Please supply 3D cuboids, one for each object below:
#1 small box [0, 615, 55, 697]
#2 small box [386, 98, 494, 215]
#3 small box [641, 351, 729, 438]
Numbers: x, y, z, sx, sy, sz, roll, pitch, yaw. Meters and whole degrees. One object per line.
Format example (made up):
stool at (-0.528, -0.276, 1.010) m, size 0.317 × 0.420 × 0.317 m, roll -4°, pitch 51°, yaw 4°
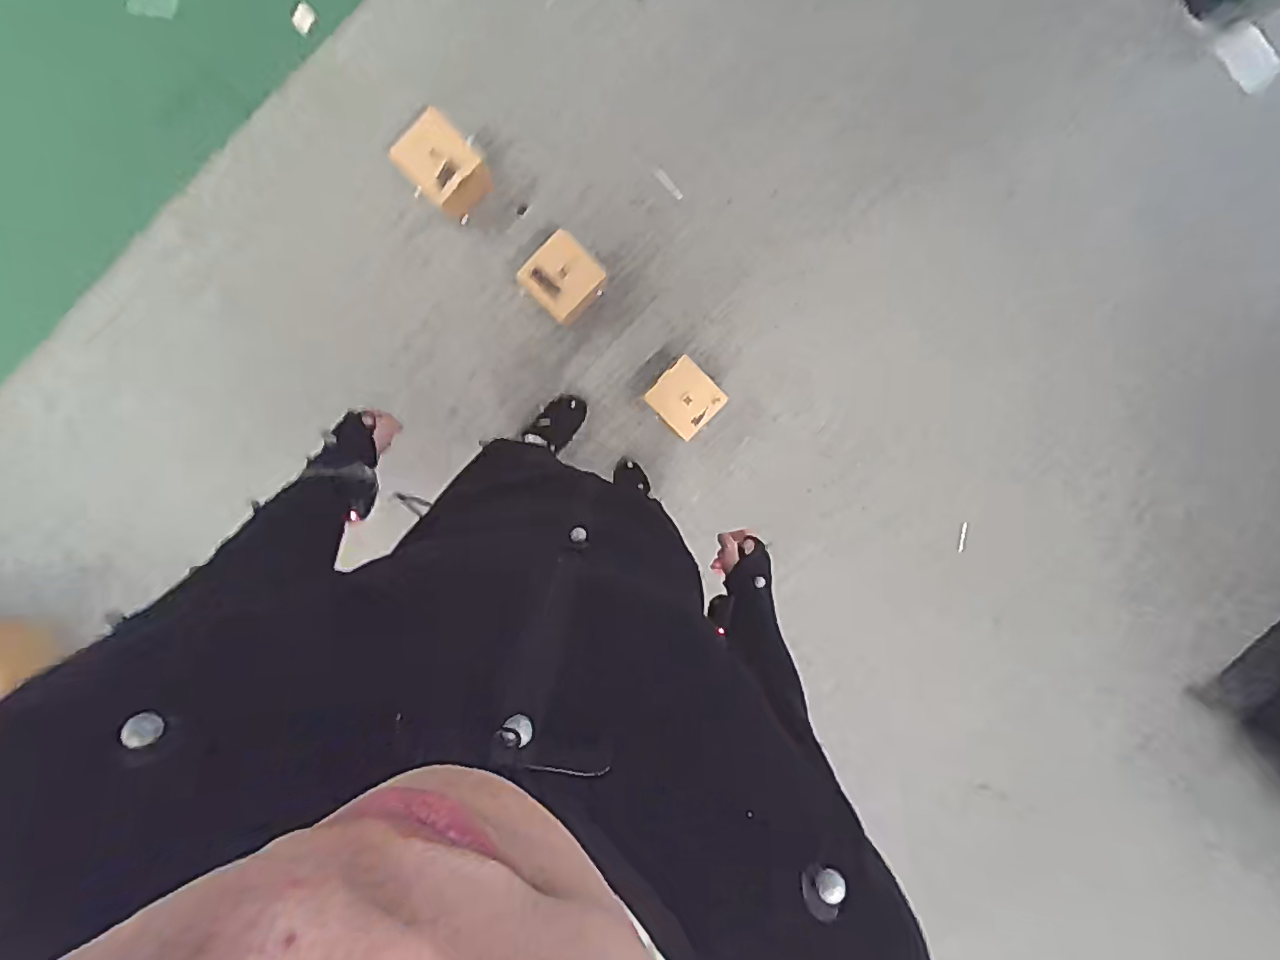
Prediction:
small box at (-1.801, 0.503, 1.486) m, size 0.168 × 0.176 × 0.179 m, roll -44°, pitch 98°, yaw 3°
small box at (-0.502, -0.814, 1.390) m, size 0.168 × 0.176 × 0.179 m, roll -44°, pitch 98°, yaw 2°
small box at (0.118, -0.234, 1.515) m, size 0.168 × 0.176 × 0.179 m, roll -44°, pitch 98°, yaw 3°
